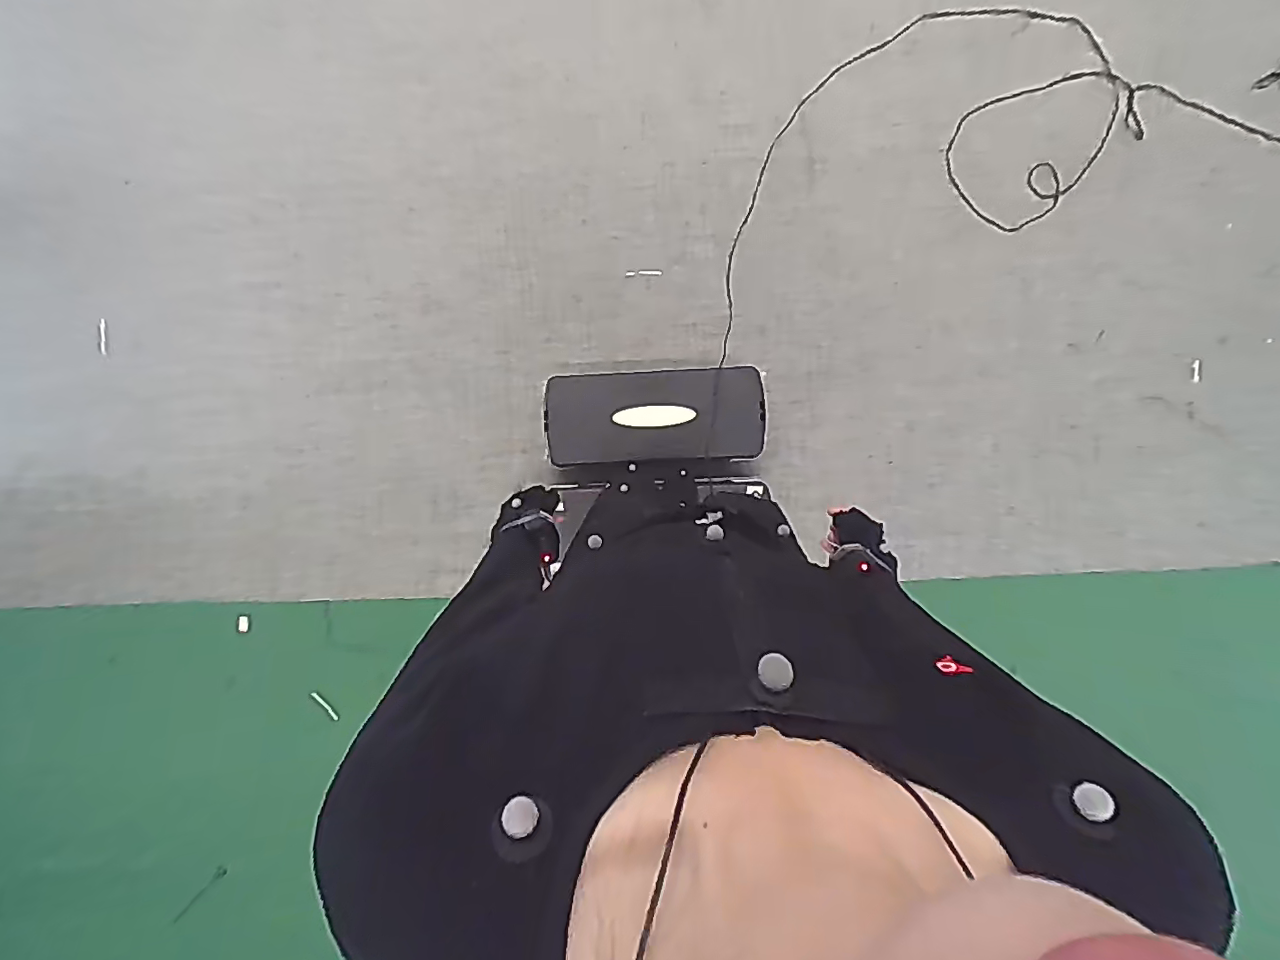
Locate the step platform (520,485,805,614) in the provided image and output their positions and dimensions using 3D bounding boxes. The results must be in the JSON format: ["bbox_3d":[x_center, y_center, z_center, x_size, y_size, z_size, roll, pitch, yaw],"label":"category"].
[{"bbox_3d":[0.052,0.170,1.388,0.684,0.204,0.286,-3,90,0],"label":"step platform"}]
